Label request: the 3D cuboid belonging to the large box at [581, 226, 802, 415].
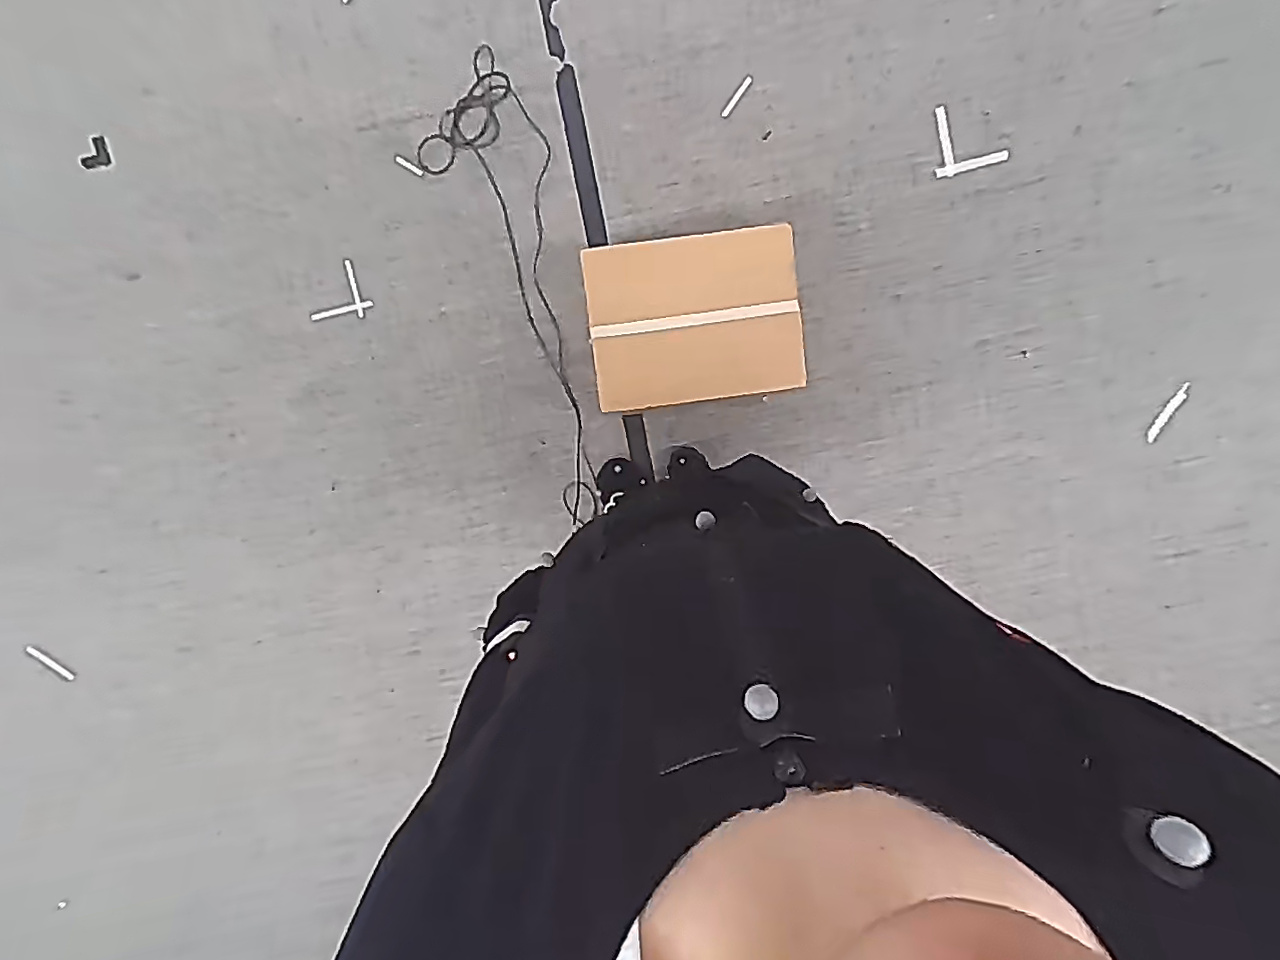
[{"bbox_3d":[0.103,-0.324,1.194,0.408,0.320,0.320,-7,95,0],"label":"large box"}]
